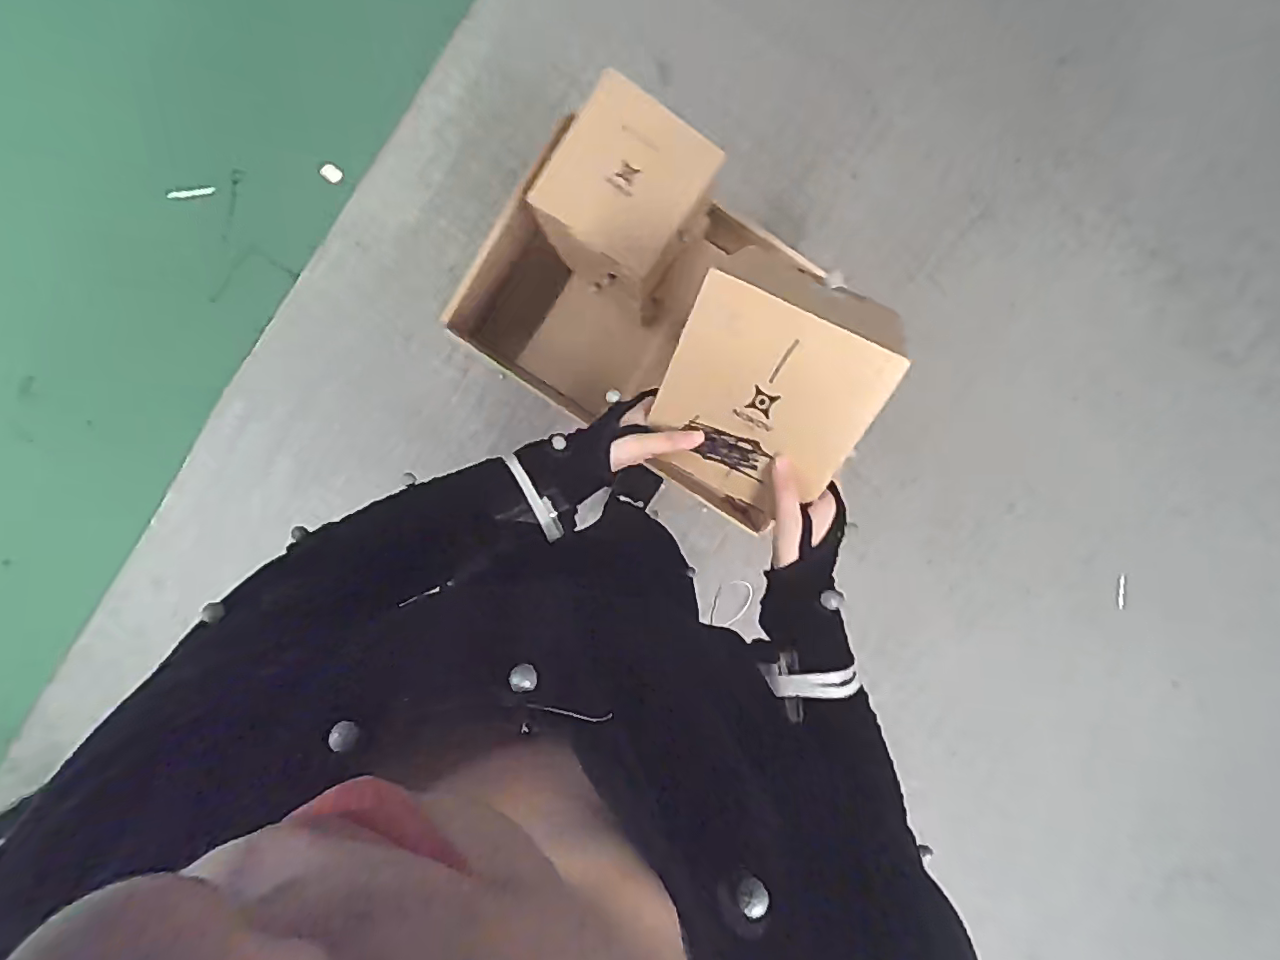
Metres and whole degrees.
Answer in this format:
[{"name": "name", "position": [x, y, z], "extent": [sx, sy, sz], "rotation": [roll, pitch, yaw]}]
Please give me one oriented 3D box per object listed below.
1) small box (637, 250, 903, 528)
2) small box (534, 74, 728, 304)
[{"name": "small box", "position": [0.123, -0.094, 0.512], "extent": [0.168, 0.176, 0.179], "rotation": [28, 125, 6]}, {"name": "small box", "position": [-0.010, -0.358, 0.709], "extent": [0.168, 0.176, 0.179], "rotation": [36, 96, -5]}]
